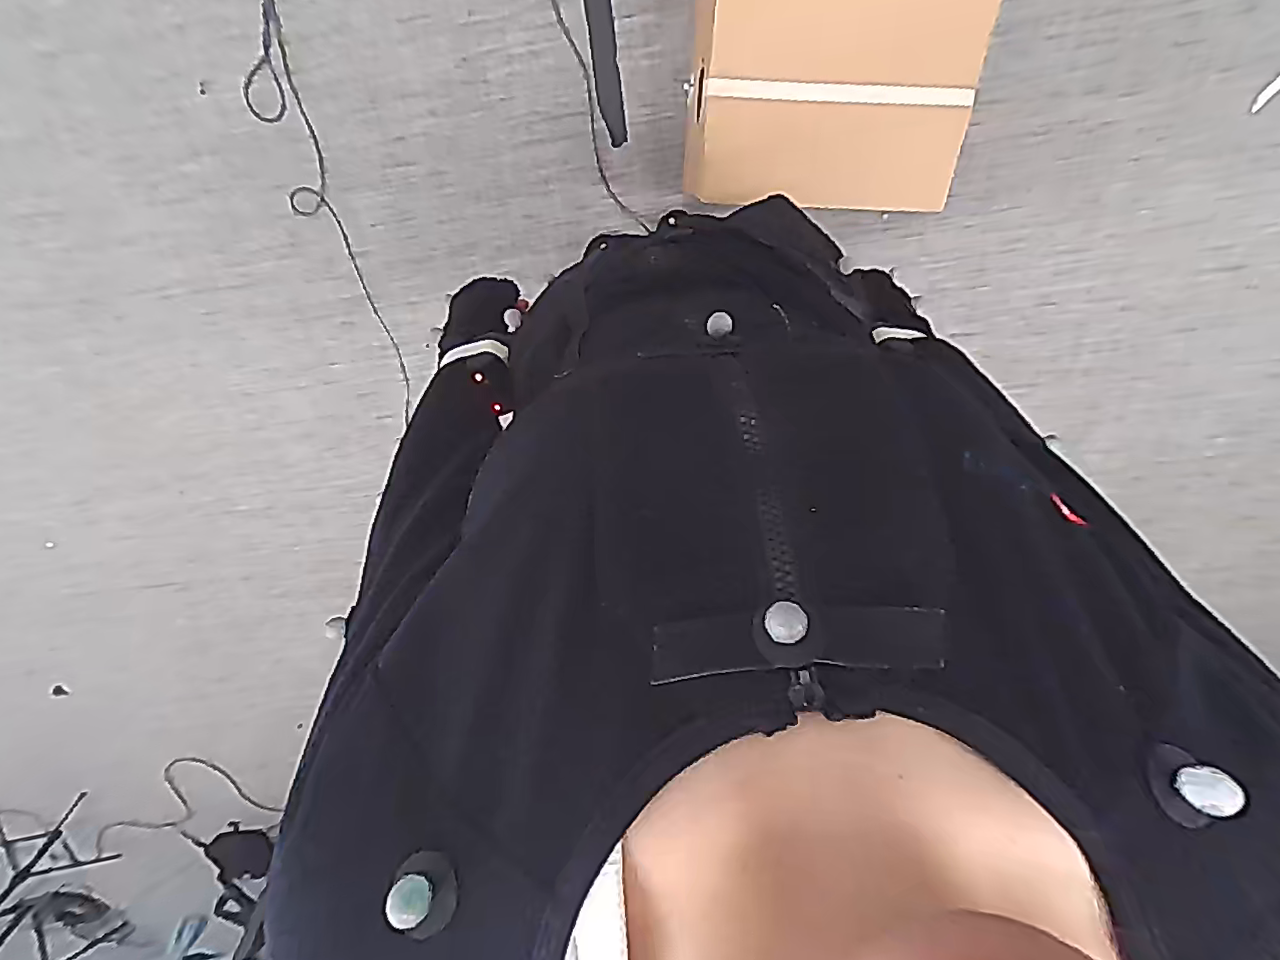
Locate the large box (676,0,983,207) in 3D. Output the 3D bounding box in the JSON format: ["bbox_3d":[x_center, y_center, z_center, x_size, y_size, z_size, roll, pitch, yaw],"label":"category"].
[{"bbox_3d":[0.282,-0.666,0.940,0.408,0.320,0.320,1,120,-3],"label":"large box"}]
